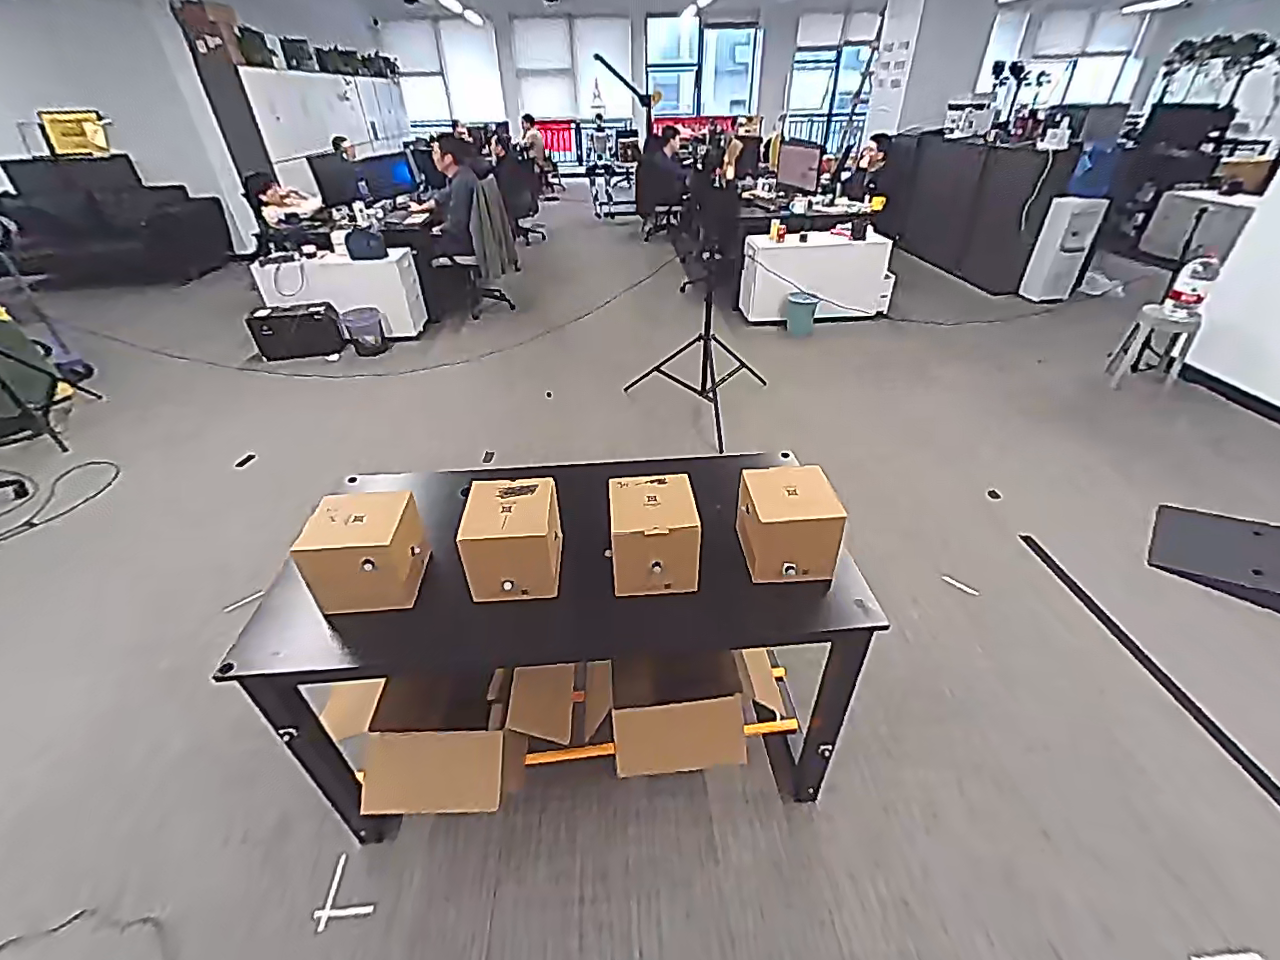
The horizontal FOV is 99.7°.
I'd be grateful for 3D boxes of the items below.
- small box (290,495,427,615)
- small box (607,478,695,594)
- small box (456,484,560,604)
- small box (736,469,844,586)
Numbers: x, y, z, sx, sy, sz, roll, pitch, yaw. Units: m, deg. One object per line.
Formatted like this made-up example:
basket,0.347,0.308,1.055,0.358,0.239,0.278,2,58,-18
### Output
small box,-0.539,0.148,1.069,0.179,0.176,0.168,-4,35,-4
small box,0.020,0.117,1.098,0.168,0.176,0.179,-4,36,-3
small box,-0.255,0.127,1.092,0.168,0.176,0.179,-3,36,-2
small box,0.297,0.096,1.116,0.168,0.176,0.179,-5,35,-1
